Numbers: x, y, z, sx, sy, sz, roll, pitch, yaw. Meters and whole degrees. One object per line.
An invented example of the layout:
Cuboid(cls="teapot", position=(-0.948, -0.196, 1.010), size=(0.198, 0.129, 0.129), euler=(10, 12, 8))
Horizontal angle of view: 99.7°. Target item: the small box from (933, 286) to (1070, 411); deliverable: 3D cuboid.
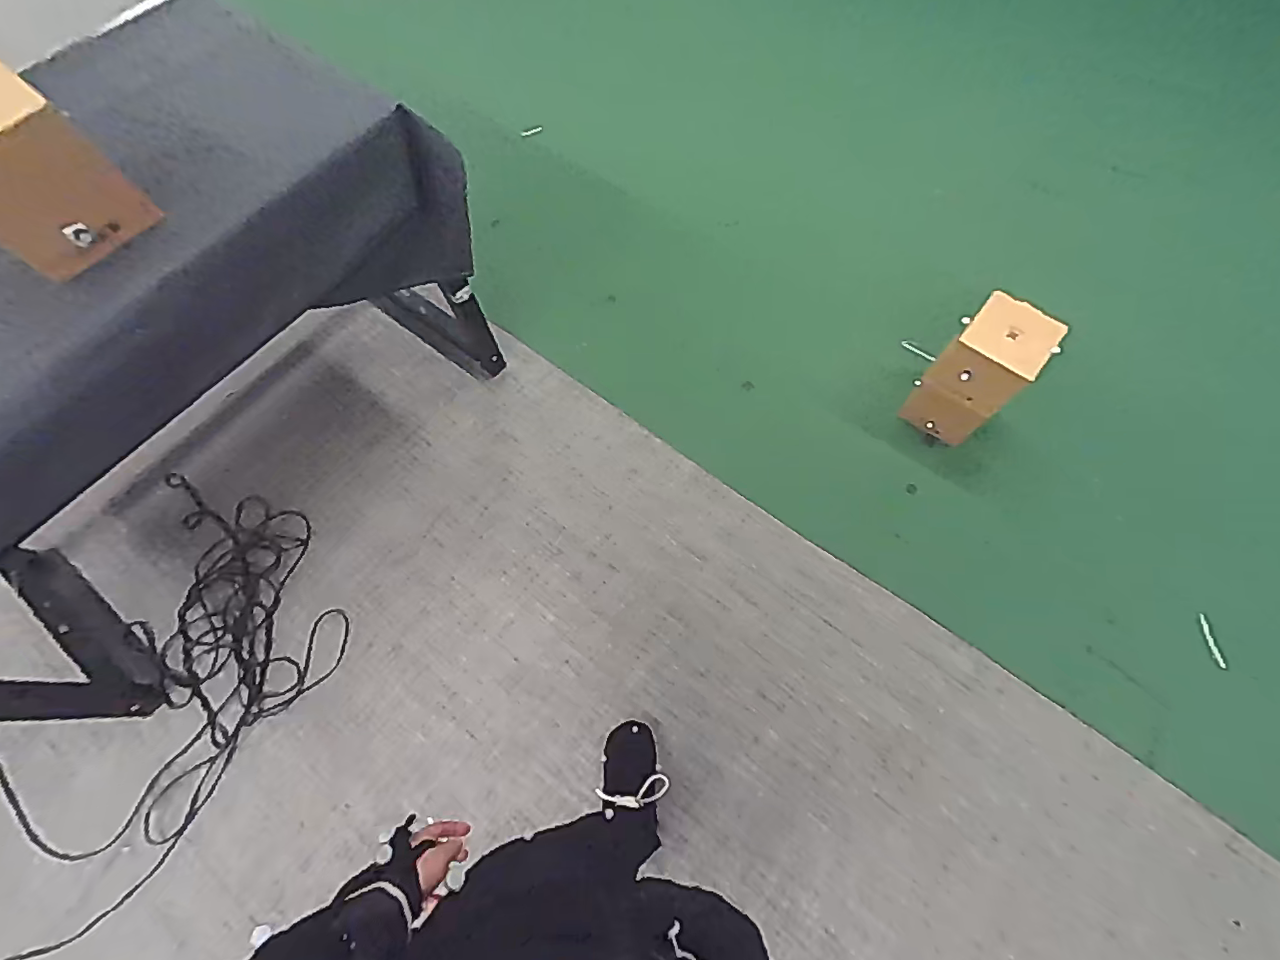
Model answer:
Cuboid(cls="small box", position=(0.794, -0.286, 1.209), size=(0.168, 0.176, 0.179), euler=(37, 74, 16))

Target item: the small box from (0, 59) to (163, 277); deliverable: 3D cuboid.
Cuboid(cls="small box", position=(-0.803, -0.405, 0.710), size=(0.179, 0.176, 0.168), euler=(36, 75, 15))
